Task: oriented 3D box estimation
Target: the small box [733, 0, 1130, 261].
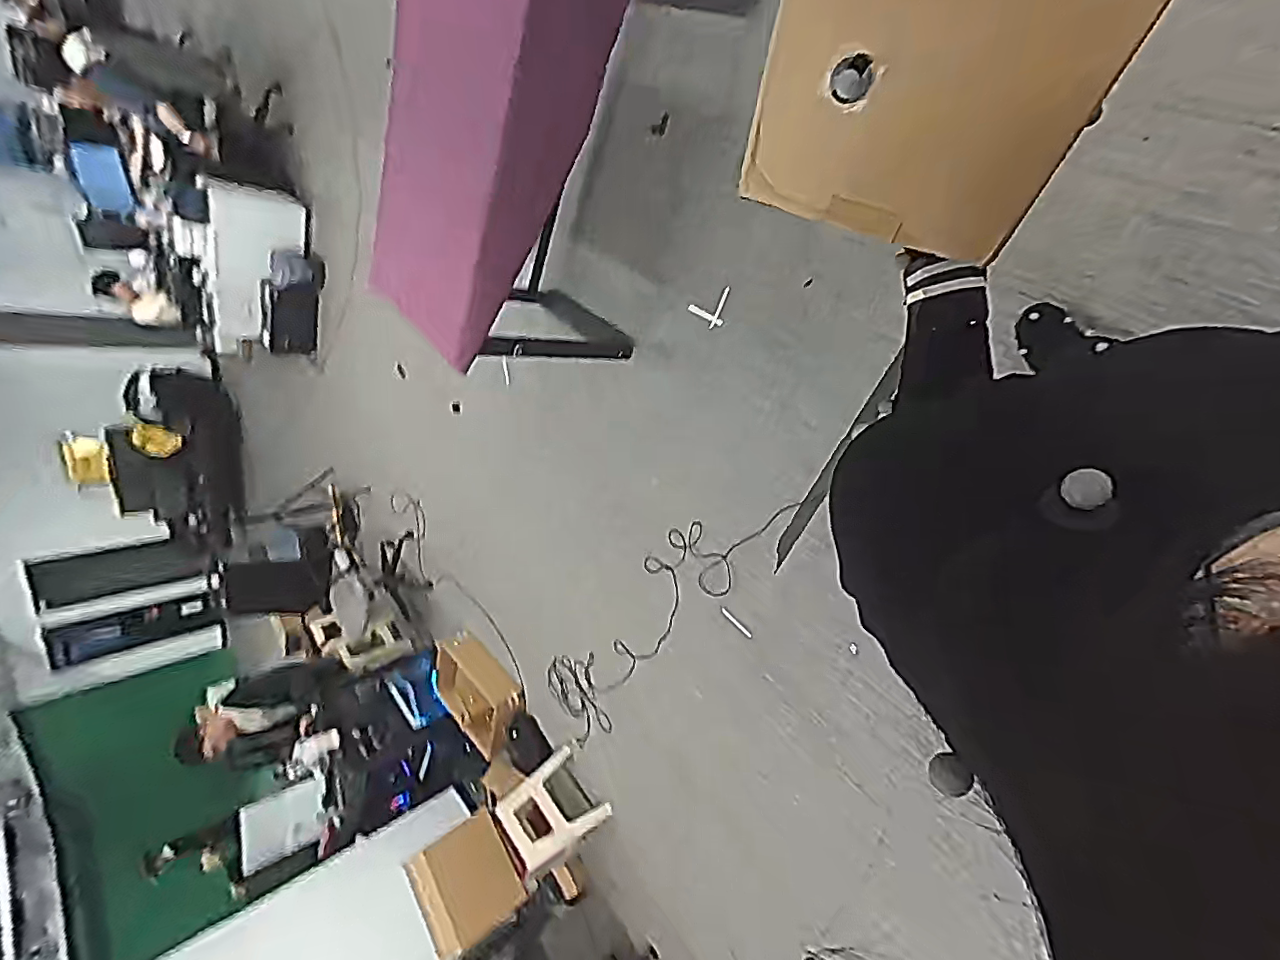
[{"bbox_3d":[0.172,-0.273,0.334,0.168,0.179,0.176,21,145,10],"label":"small box"}]
